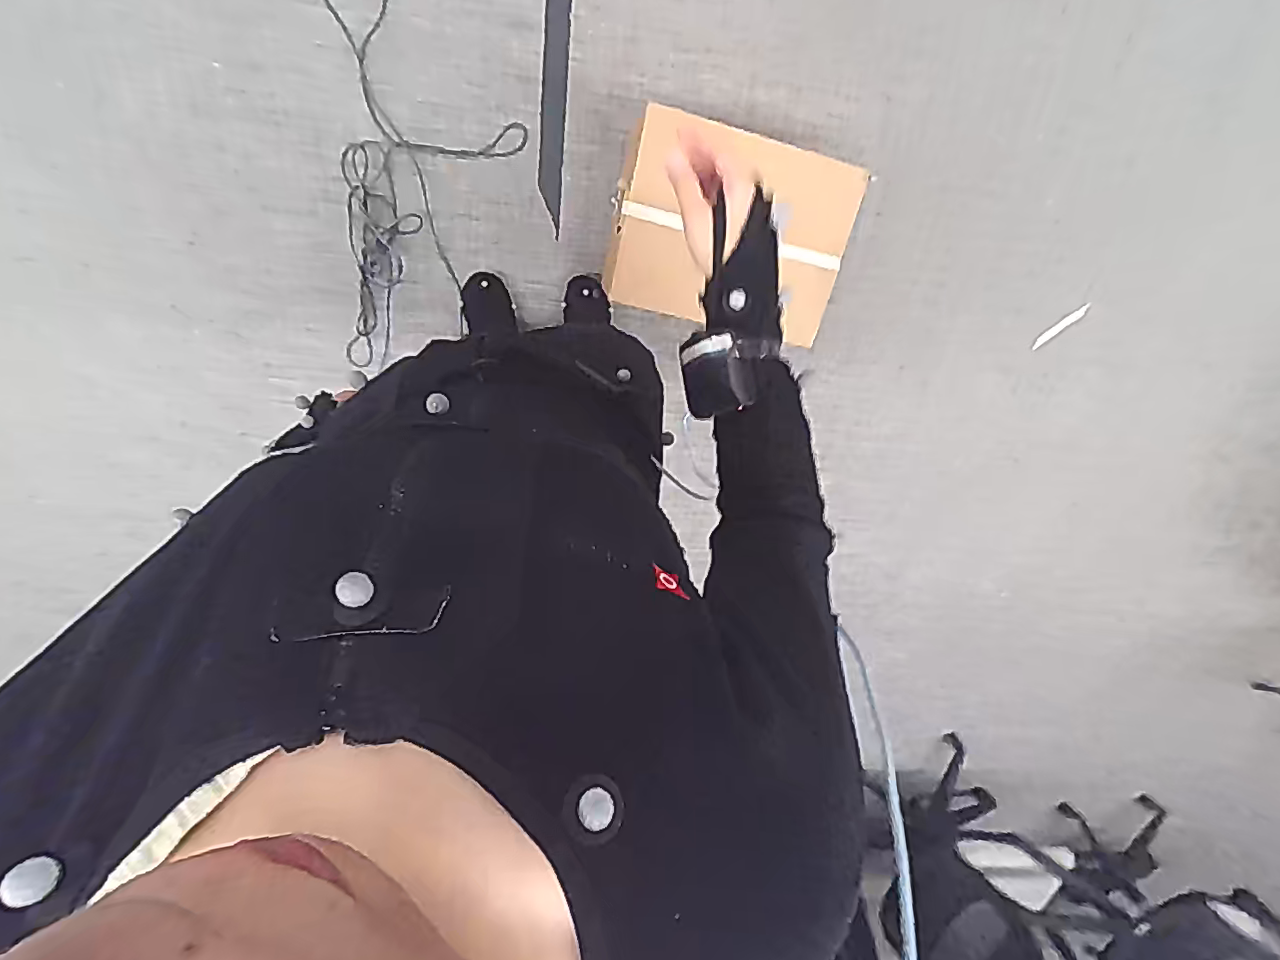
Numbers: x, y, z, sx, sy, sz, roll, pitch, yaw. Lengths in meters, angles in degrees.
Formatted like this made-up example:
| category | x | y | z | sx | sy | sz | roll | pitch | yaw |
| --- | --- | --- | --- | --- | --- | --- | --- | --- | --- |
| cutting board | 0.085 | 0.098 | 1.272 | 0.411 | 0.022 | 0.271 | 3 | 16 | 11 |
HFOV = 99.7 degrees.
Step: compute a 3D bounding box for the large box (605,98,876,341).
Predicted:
| category | x | y | z | sx | sy | sz | roll | pitch | yaw |
| --- | --- | --- | --- | --- | --- | --- | --- | --- | --- |
| large box | 0.160 | -0.489 | 1.069 | 0.408 | 0.320 | 0.320 | 10 | 113 | -12 |
